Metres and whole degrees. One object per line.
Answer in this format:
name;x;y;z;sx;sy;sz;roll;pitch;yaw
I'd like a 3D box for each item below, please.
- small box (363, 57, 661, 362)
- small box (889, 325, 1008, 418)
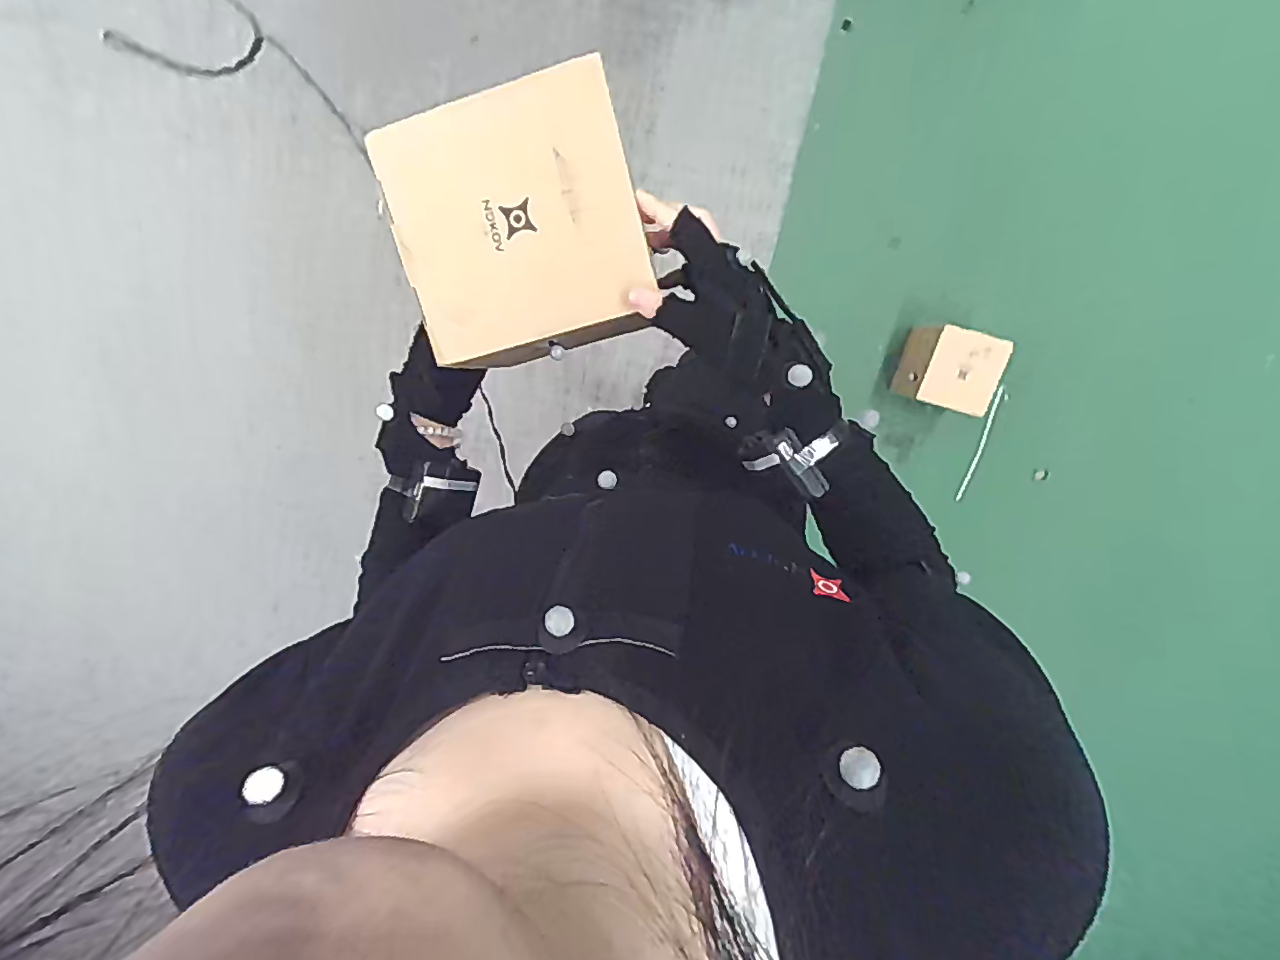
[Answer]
small box;-0.087;-0.200;0.460;0.179;0.176;0.168;-14;101;8
small box;0.734;-0.266;1.313;0.168;0.176;0.179;15;104;-1
